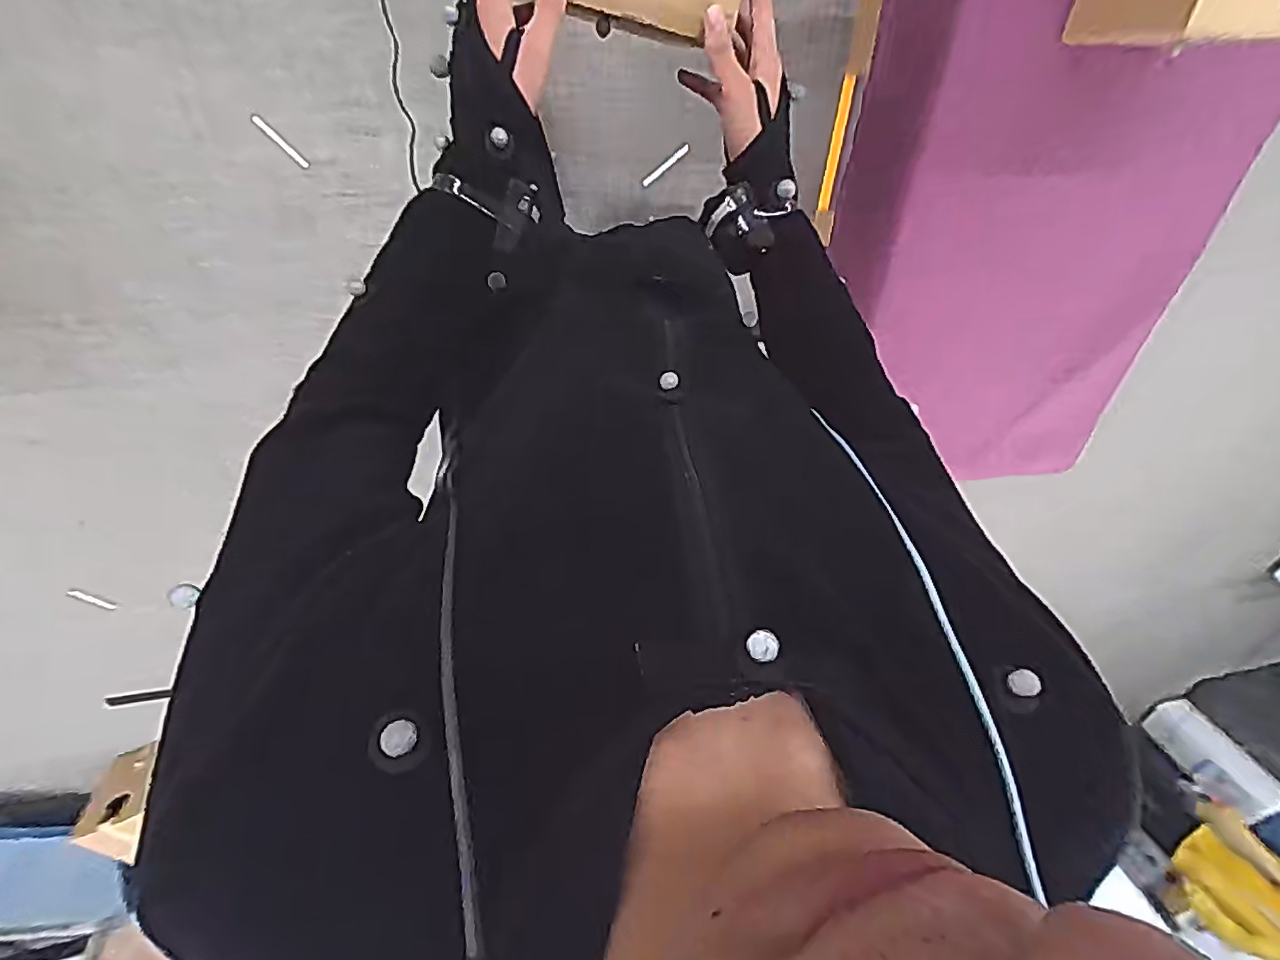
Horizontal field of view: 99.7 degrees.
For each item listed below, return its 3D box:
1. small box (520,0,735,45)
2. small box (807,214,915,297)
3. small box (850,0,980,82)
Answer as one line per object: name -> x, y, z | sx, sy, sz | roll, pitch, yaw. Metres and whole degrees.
small box -> -0.012, -0.468, 0.431 | 0.179, 0.176, 0.168 | 3, 127, -16
small box -> 0.551, -0.575, 1.380 | 0.179, 0.176, 0.168 | -5, 127, -12
small box -> 0.560, -0.935, 1.119 | 0.168, 0.176, 0.179 | -7, 127, -10
